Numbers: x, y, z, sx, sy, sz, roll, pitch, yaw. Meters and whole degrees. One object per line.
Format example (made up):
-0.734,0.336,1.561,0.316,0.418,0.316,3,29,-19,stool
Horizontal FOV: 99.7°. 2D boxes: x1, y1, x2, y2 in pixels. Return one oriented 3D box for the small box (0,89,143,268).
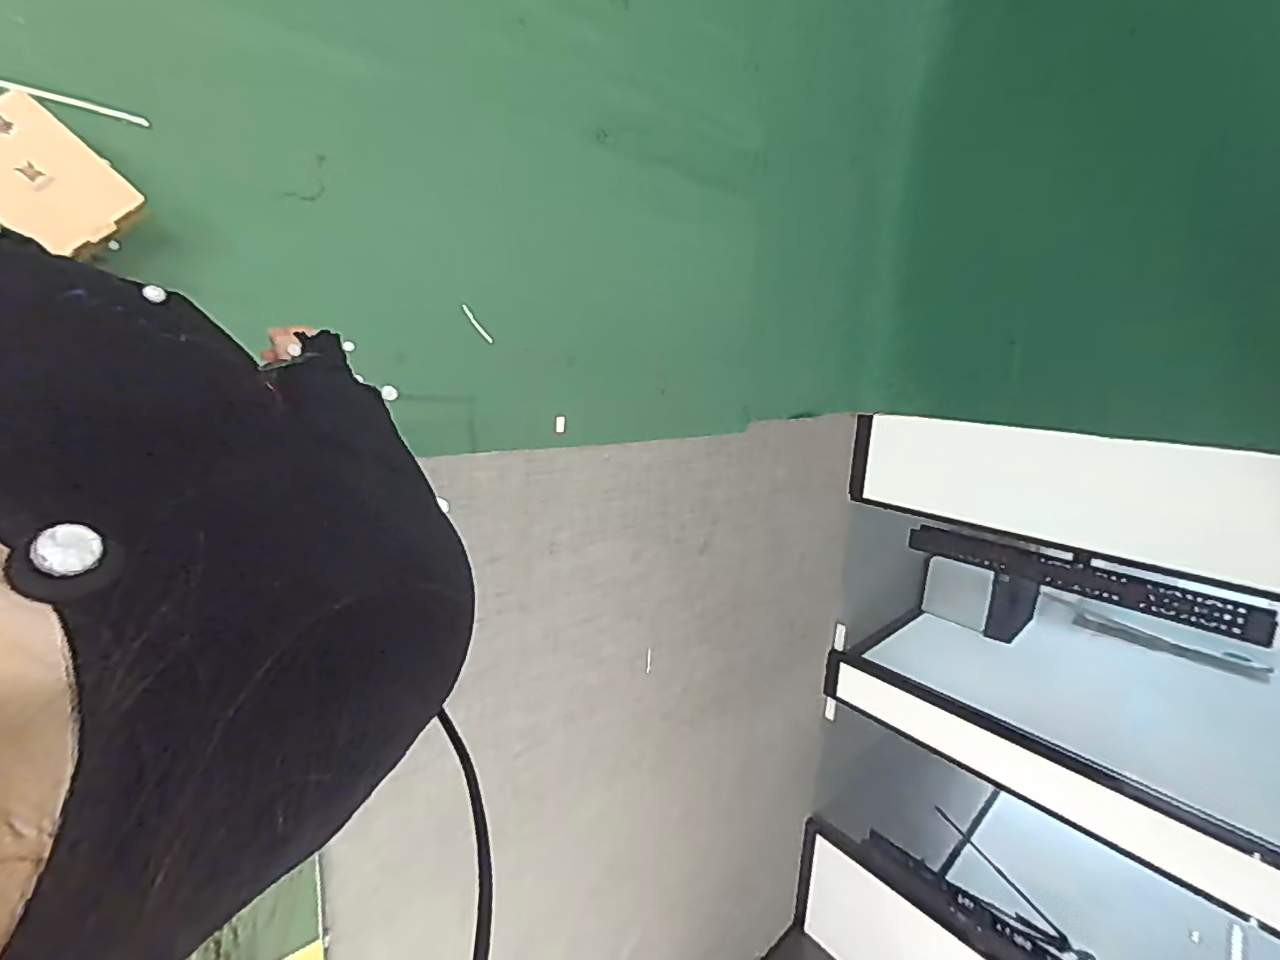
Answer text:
-0.927,-0.451,0.838,0.168,0.176,0.179,-53,131,-18,small box
